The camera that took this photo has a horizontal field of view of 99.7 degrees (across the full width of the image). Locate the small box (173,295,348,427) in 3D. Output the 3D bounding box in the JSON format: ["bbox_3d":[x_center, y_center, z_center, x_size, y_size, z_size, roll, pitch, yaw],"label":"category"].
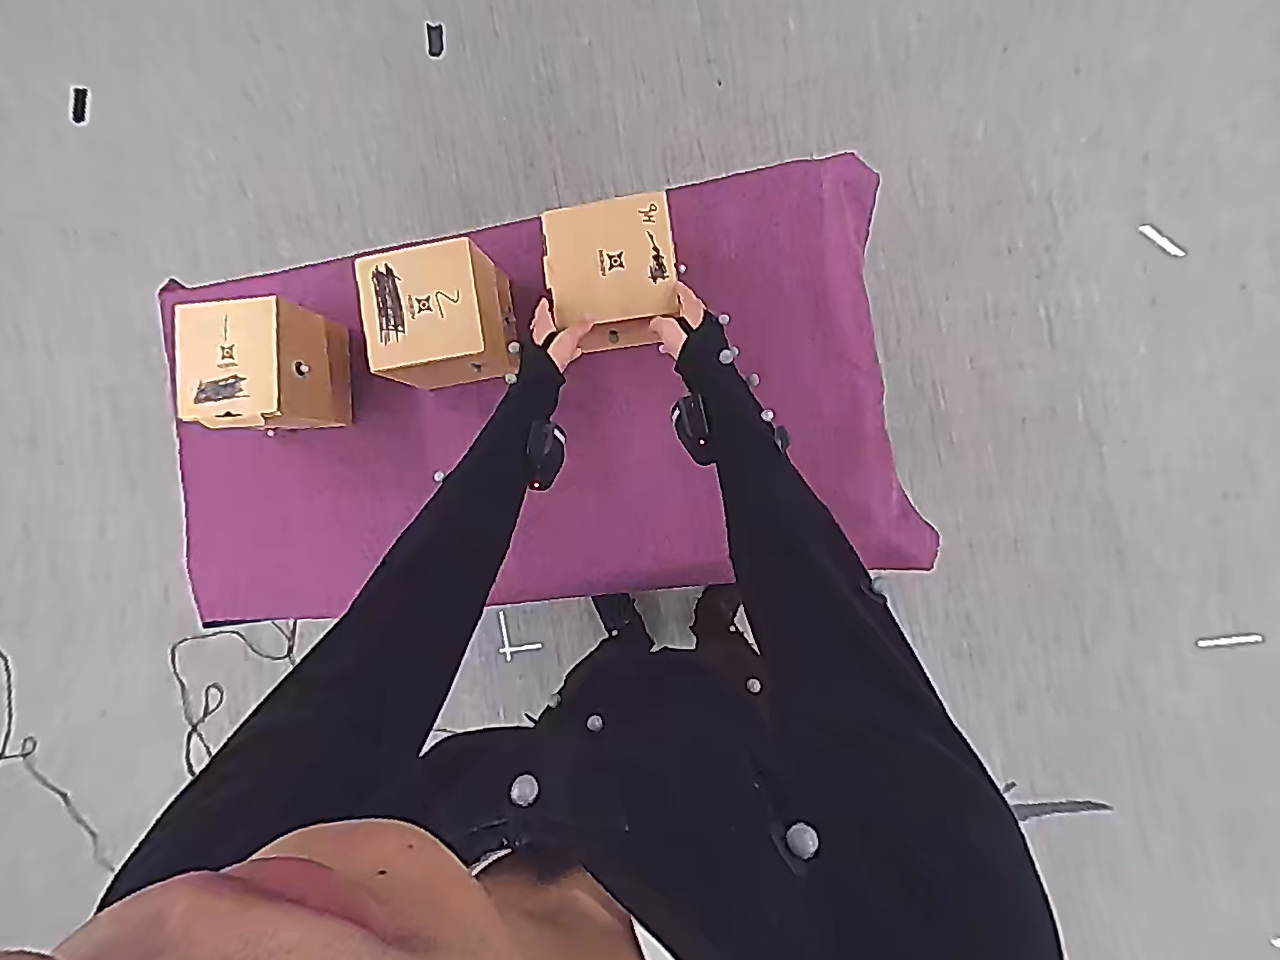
[{"bbox_3d":[-0.597,-0.179,0.870,0.168,0.176,0.179,-3,89,6],"label":"small box"}]

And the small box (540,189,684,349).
[{"bbox_3d":[-0.033,-0.298,0.805,0.179,0.176,0.168,-6,93,7],"label":"small box"}]
